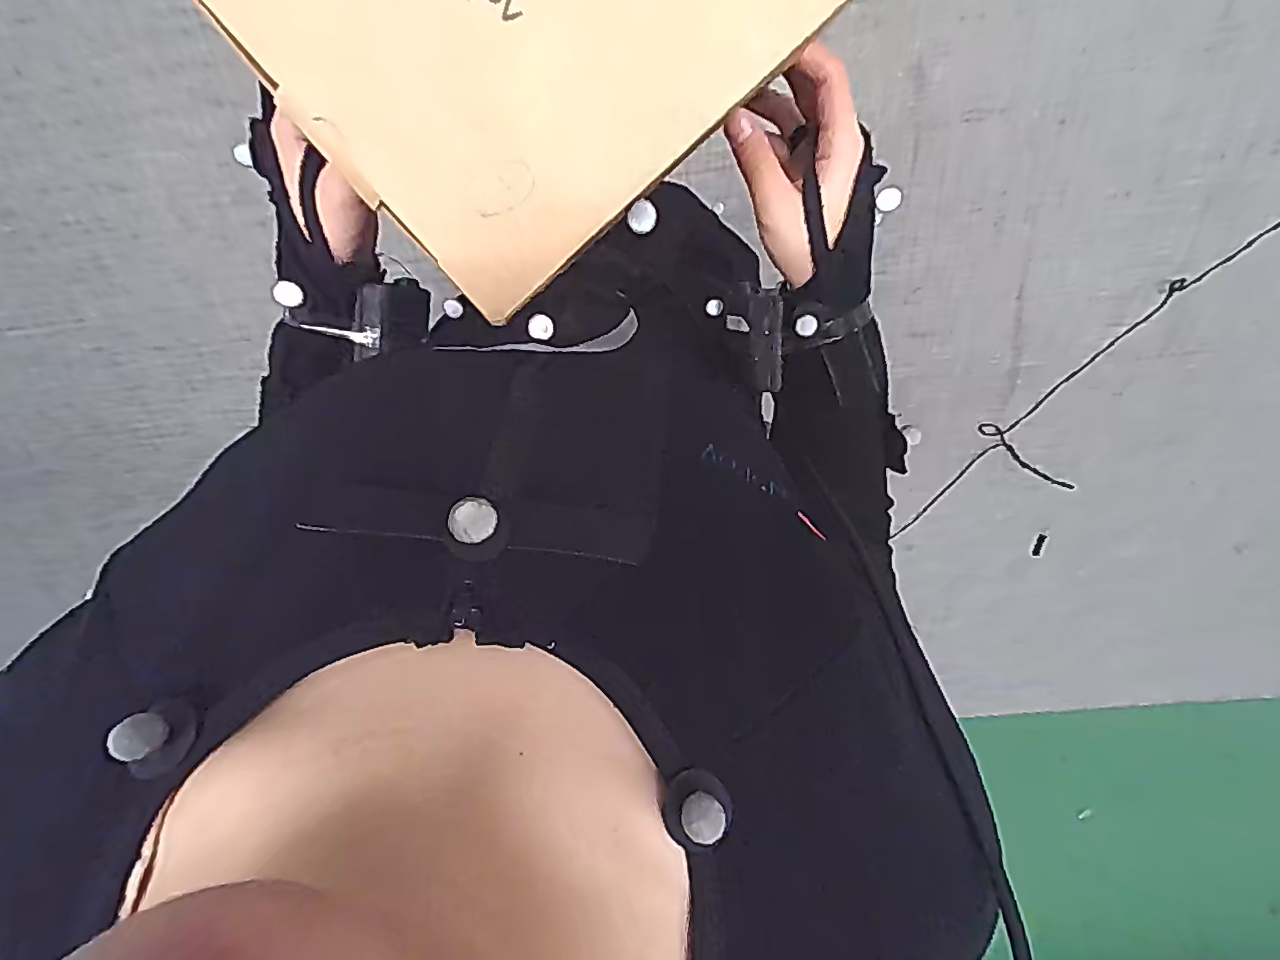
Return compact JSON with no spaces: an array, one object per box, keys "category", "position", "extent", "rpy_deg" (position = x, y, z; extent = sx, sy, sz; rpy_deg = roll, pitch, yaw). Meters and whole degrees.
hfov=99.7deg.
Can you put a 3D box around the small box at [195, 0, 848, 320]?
[{"category":"small box","position":[-0.042,-0.203,0.241],"extent":[0.179,0.176,0.168],"rpy_deg":[-35,111,18]}]
